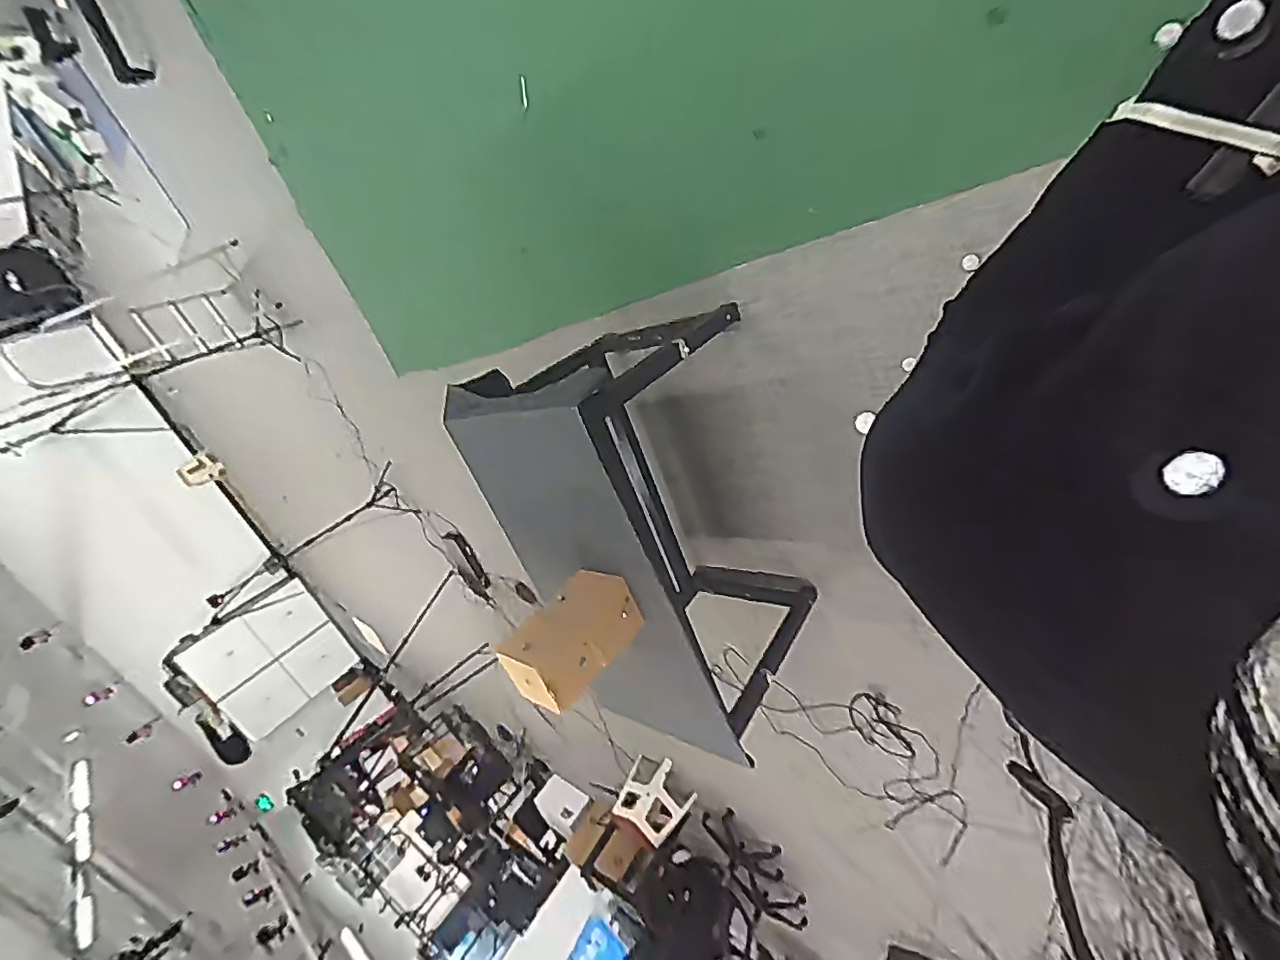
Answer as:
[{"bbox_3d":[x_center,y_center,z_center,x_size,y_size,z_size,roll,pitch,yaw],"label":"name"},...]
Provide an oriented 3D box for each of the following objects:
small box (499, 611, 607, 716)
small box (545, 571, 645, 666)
[{"bbox_3d":[-0.217,0.455,1.373,0.179,0.176,0.168,0,122,43],"label":"small box"},{"bbox_3d":[-0.119,0.368,1.469,0.179,0.176,0.168,0,123,43],"label":"small box"}]
